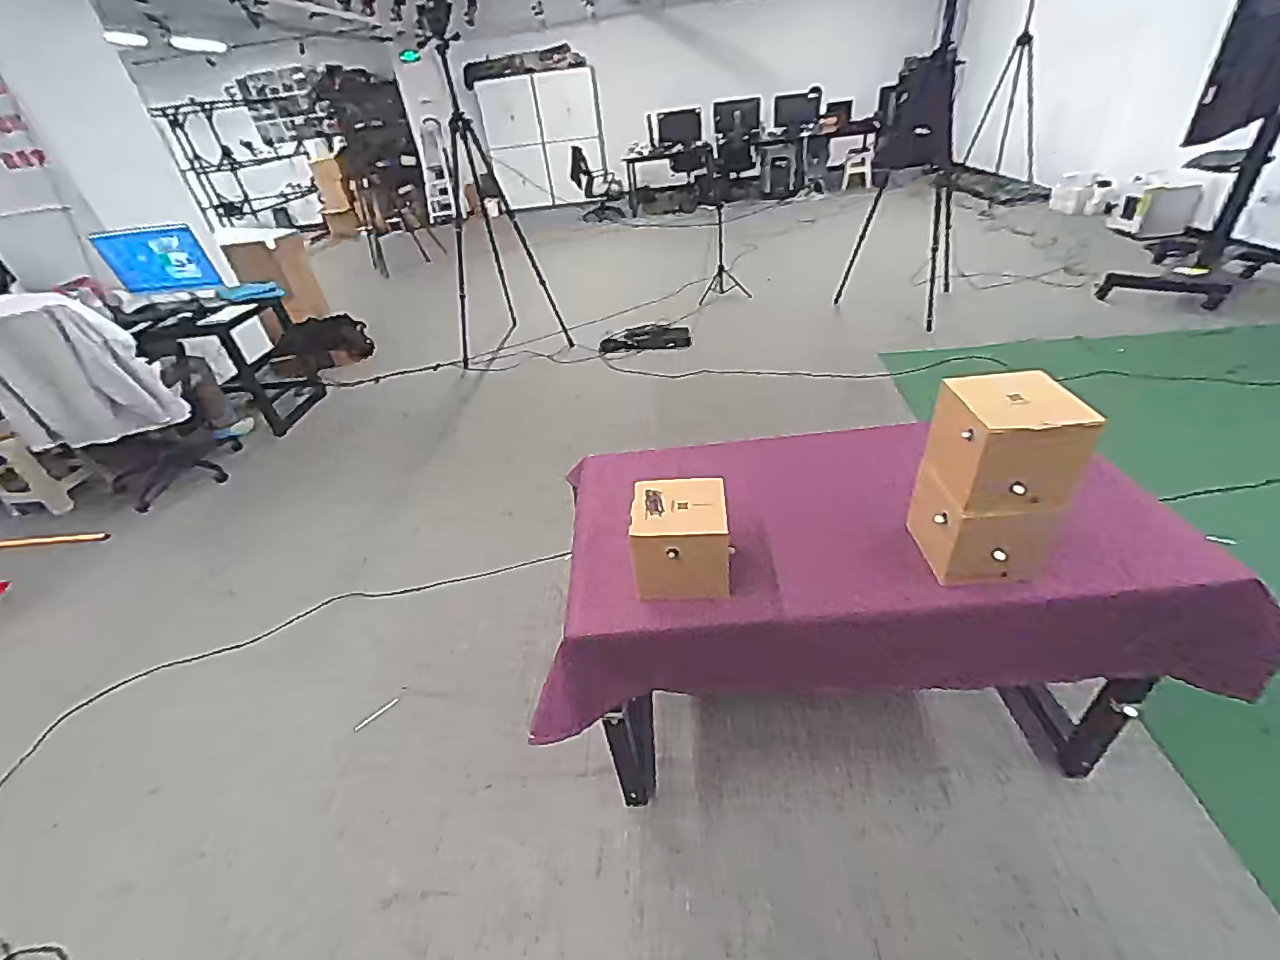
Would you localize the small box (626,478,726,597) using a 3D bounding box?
[{"bbox_3d":[0.074,0.112,1.050,0.179,0.176,0.168,-2,36,6],"label":"small box"}]

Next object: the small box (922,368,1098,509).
[{"bbox_3d":[0.605,-0.071,0.916,0.168,0.176,0.179,-5,37,5],"label":"small box"}]

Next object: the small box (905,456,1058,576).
[{"bbox_3d":[0.619,0.065,1.007,0.168,0.176,0.179,-5,36,4],"label":"small box"}]
